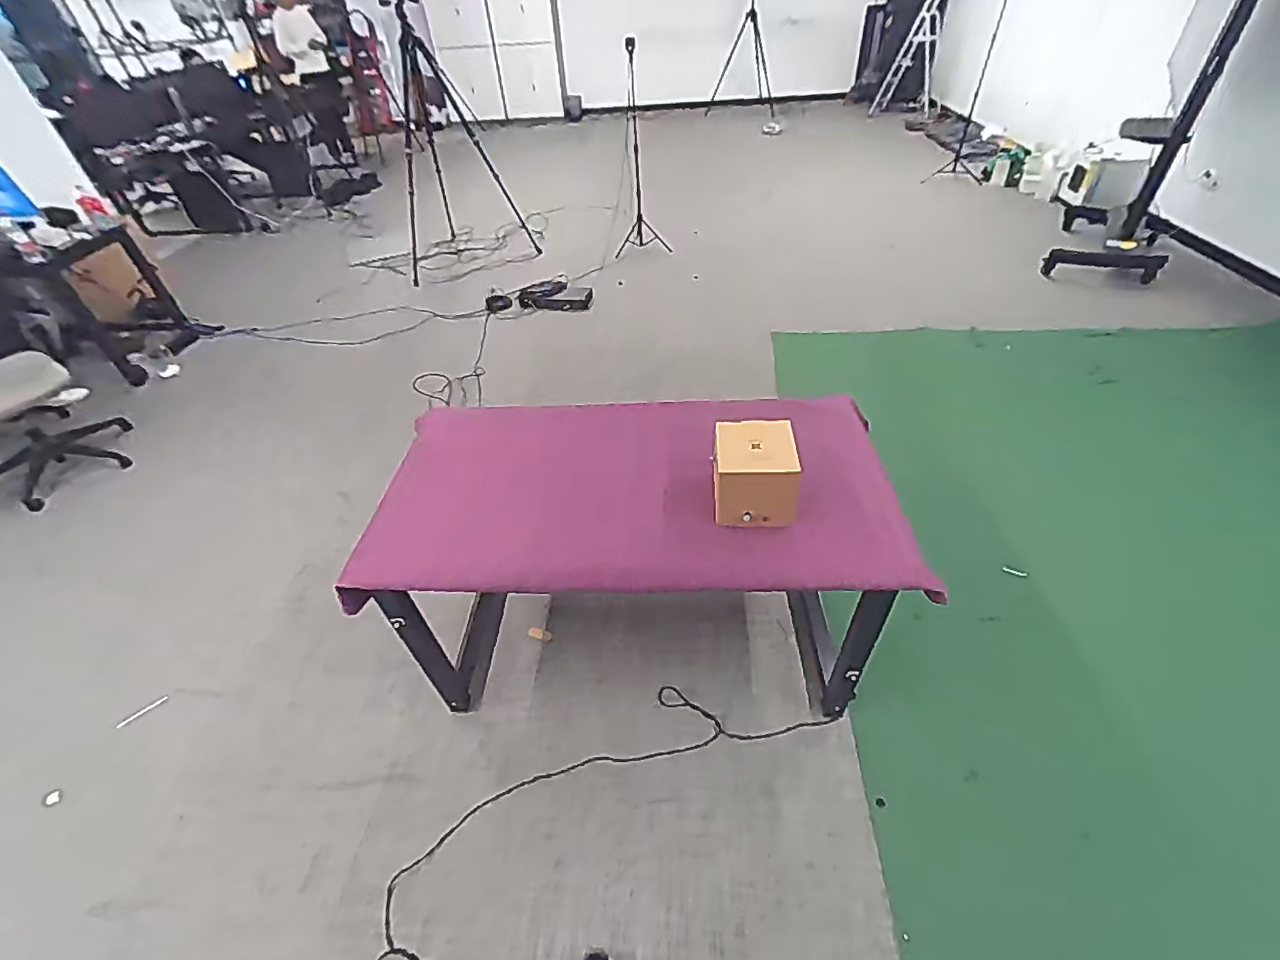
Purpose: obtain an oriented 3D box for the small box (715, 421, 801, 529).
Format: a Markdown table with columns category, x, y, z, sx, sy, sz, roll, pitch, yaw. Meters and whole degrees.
| category | x | y | z | sx | sy | sz | roll | pitch | yaw |
| --- | --- | --- | --- | --- | --- | --- | --- | --- | --- |
| small box | 0.251 | -0.013 | 1.189 | 0.168 | 0.176 | 0.179 | -1 | 42 | 7 |
